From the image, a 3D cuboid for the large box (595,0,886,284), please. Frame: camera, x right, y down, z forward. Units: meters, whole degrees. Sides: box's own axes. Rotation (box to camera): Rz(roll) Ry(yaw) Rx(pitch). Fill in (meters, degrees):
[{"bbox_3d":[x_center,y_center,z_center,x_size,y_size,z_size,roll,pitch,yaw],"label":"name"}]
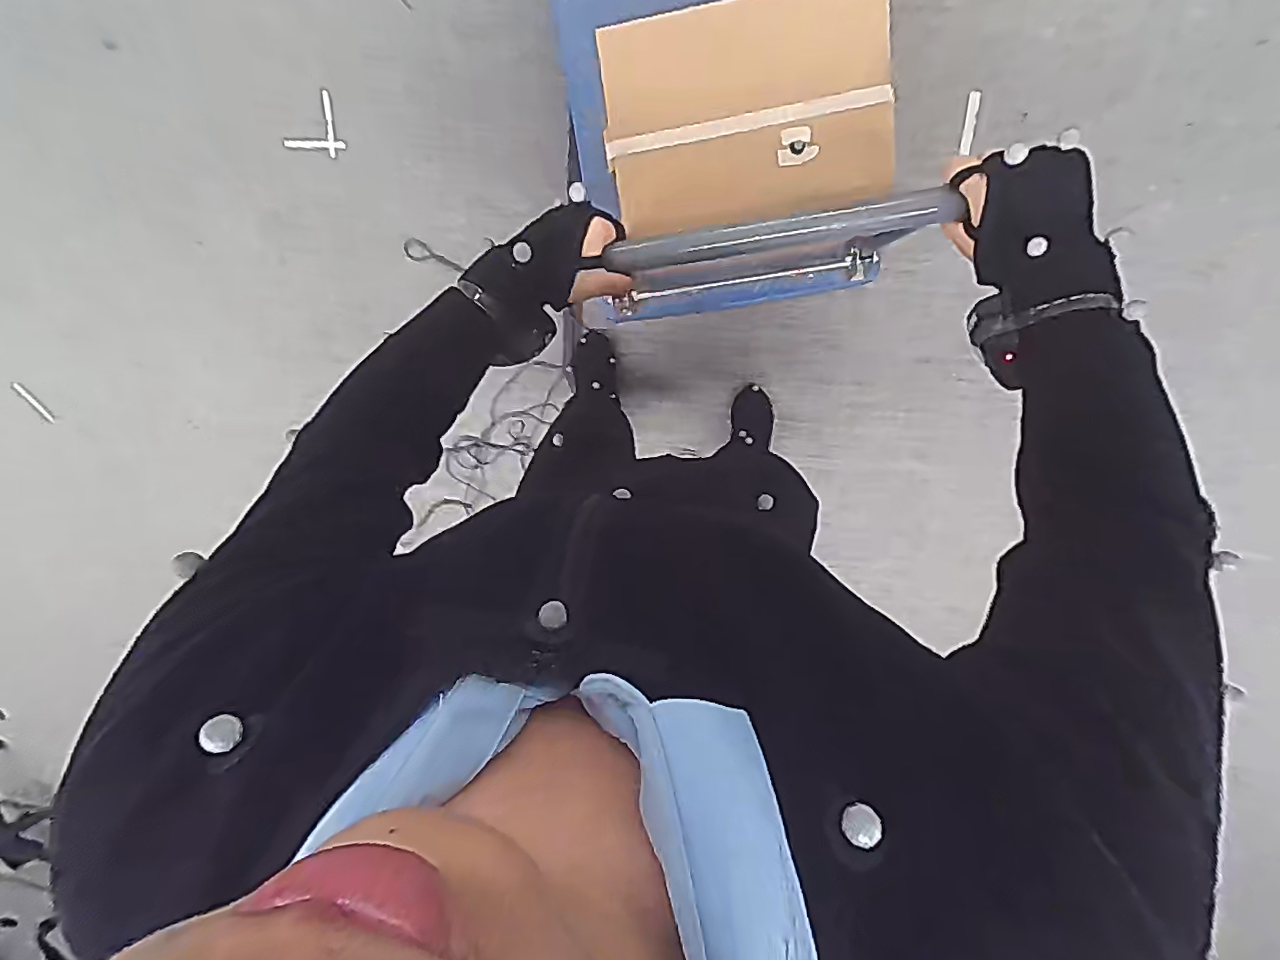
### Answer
[{"bbox_3d":[0.161,-0.543,0.934,0.408,0.320,0.320,-6,105,6],"label":"large box"}]
